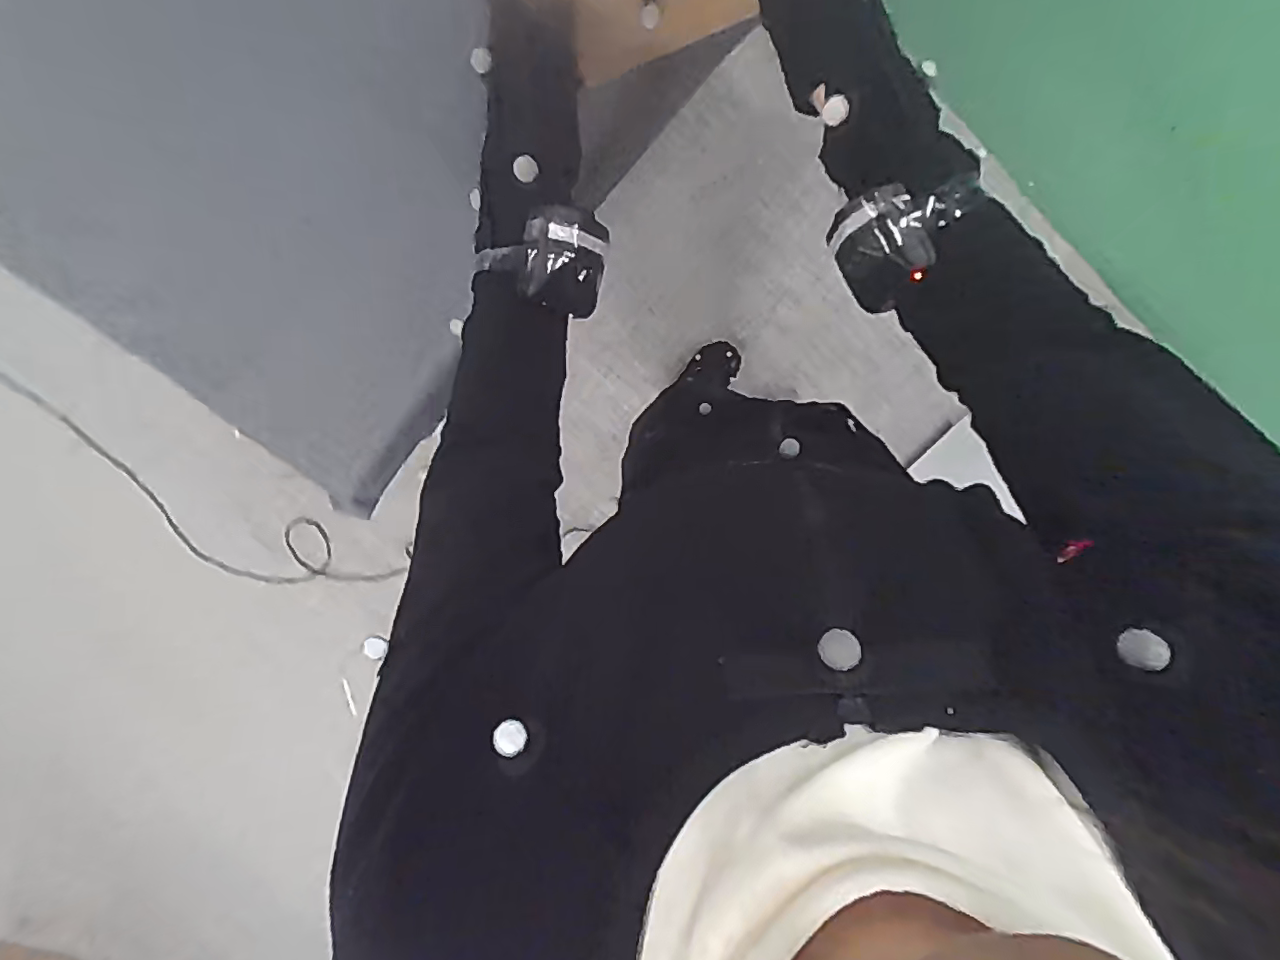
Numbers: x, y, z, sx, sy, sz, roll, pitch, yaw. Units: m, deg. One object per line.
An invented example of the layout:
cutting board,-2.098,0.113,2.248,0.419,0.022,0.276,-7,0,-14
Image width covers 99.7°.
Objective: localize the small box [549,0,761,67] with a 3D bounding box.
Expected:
small box,0.002,-0.426,0.370,0.179,0.176,0.168,-12,110,12
